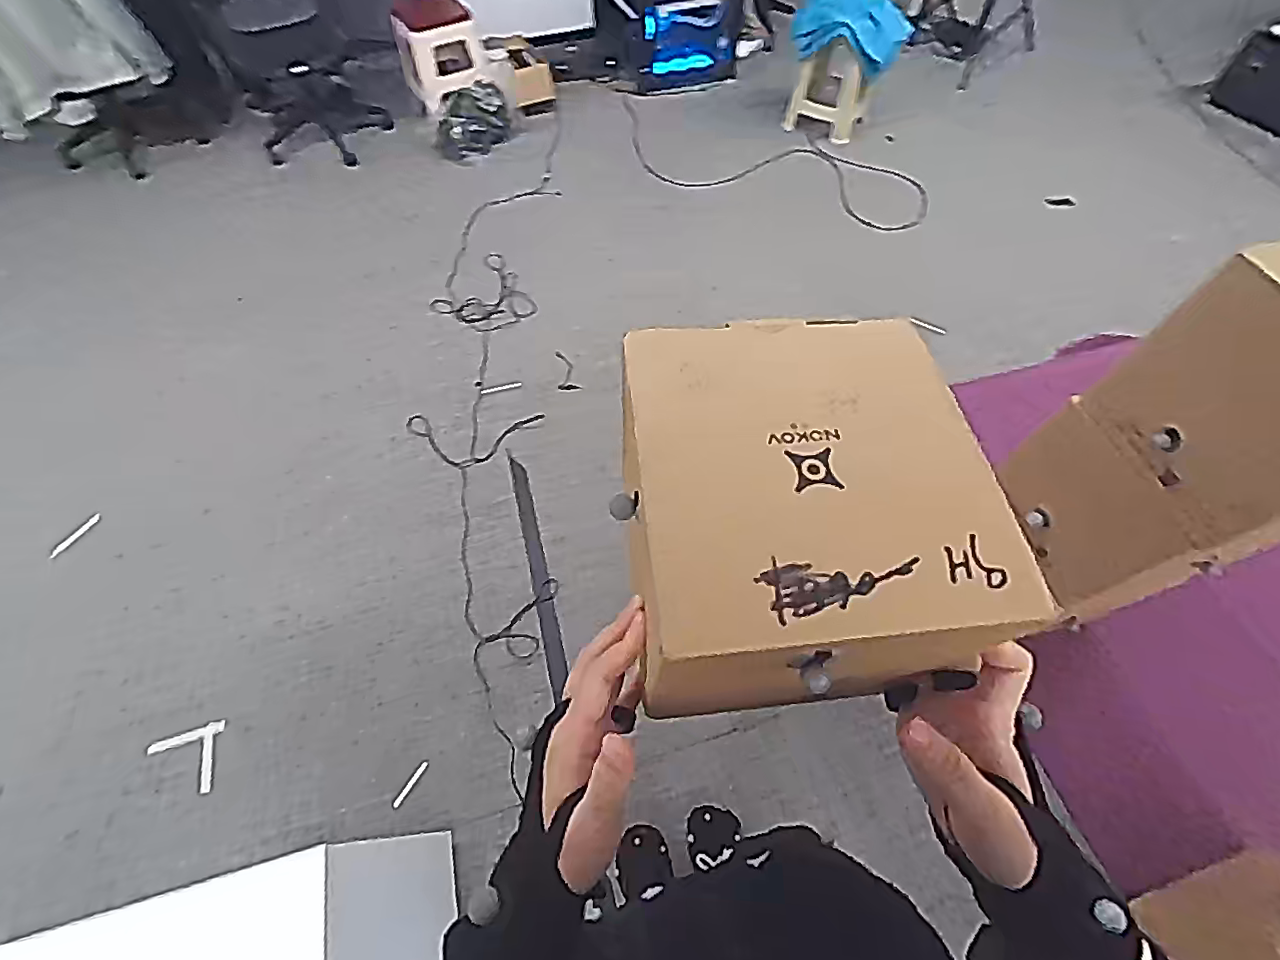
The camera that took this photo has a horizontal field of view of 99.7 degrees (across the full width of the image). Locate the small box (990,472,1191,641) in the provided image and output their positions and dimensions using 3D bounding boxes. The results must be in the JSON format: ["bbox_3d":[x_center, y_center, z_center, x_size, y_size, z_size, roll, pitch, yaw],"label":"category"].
[{"bbox_3d":[0.510,0.096,0.694,0.168,0.176,0.179,-11,59,-6],"label":"small box"}]

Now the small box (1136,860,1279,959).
[{"bbox_3d":[0.618,0.459,0.476,0.179,0.176,0.168,-15,59,-7],"label":"small box"}]

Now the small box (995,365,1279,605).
[{"bbox_3d":[0.518,0.012,0.553,0.179,0.176,0.168,-12,60,-6],"label":"small box"}]

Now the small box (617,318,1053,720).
[{"bbox_3d":[0.074,0.029,0.322,0.168,0.176,0.179,-5,59,-5],"label":"small box"}]
